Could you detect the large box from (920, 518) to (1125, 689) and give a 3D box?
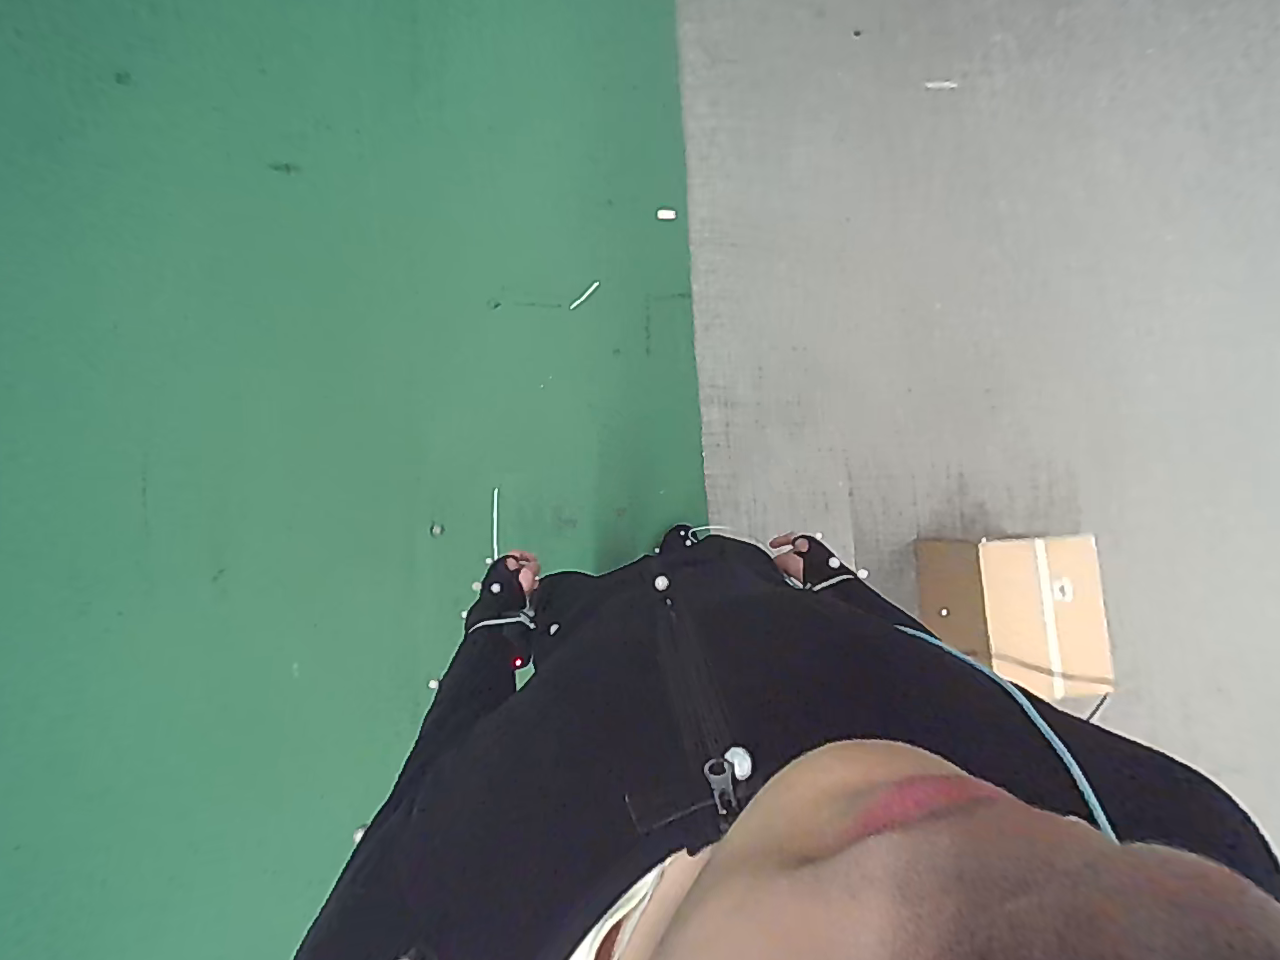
[{"bbox_3d":[1.035,0.327,1.509,0.320,0.320,0.408,-5,84,-2],"label":"large box"}]
